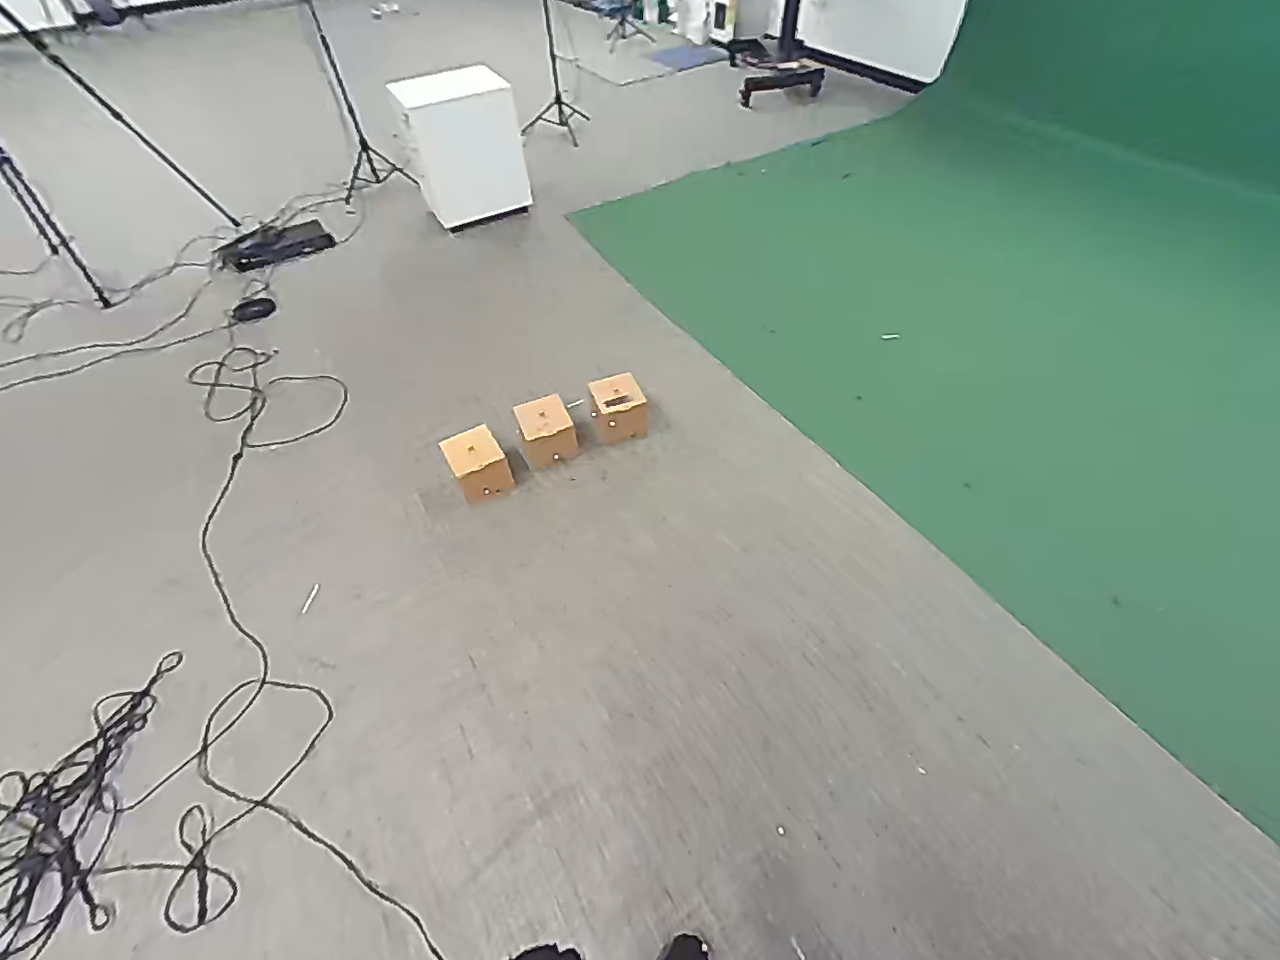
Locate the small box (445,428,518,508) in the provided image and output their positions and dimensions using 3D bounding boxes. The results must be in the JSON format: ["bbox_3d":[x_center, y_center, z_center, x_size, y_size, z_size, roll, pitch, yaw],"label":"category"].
[{"bbox_3d":[-0.529,-0.038,1.813,0.168,0.176,0.179,-26,56,-18],"label":"small box"}]

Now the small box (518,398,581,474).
[{"bbox_3d":[-0.315,-0.154,1.895,0.168,0.176,0.179,-20,54,-13],"label":"small box"}]
